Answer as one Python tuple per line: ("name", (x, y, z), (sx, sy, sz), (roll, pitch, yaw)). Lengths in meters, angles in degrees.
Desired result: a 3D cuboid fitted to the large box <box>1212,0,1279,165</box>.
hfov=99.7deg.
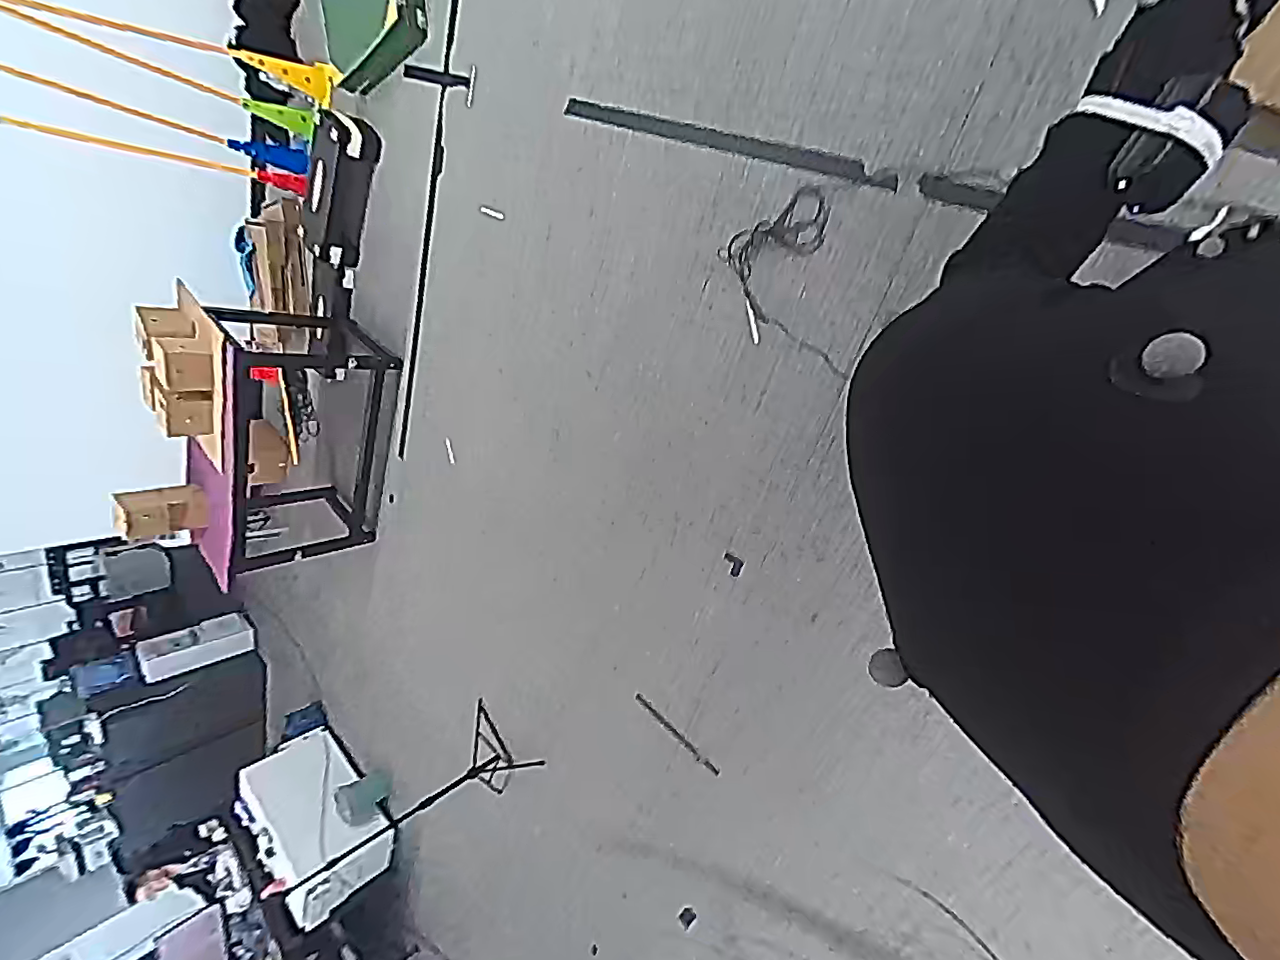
("large box", (0.654, -0.311, 0.278), (0.408, 0.320, 0.320), (39, 133, 28))
